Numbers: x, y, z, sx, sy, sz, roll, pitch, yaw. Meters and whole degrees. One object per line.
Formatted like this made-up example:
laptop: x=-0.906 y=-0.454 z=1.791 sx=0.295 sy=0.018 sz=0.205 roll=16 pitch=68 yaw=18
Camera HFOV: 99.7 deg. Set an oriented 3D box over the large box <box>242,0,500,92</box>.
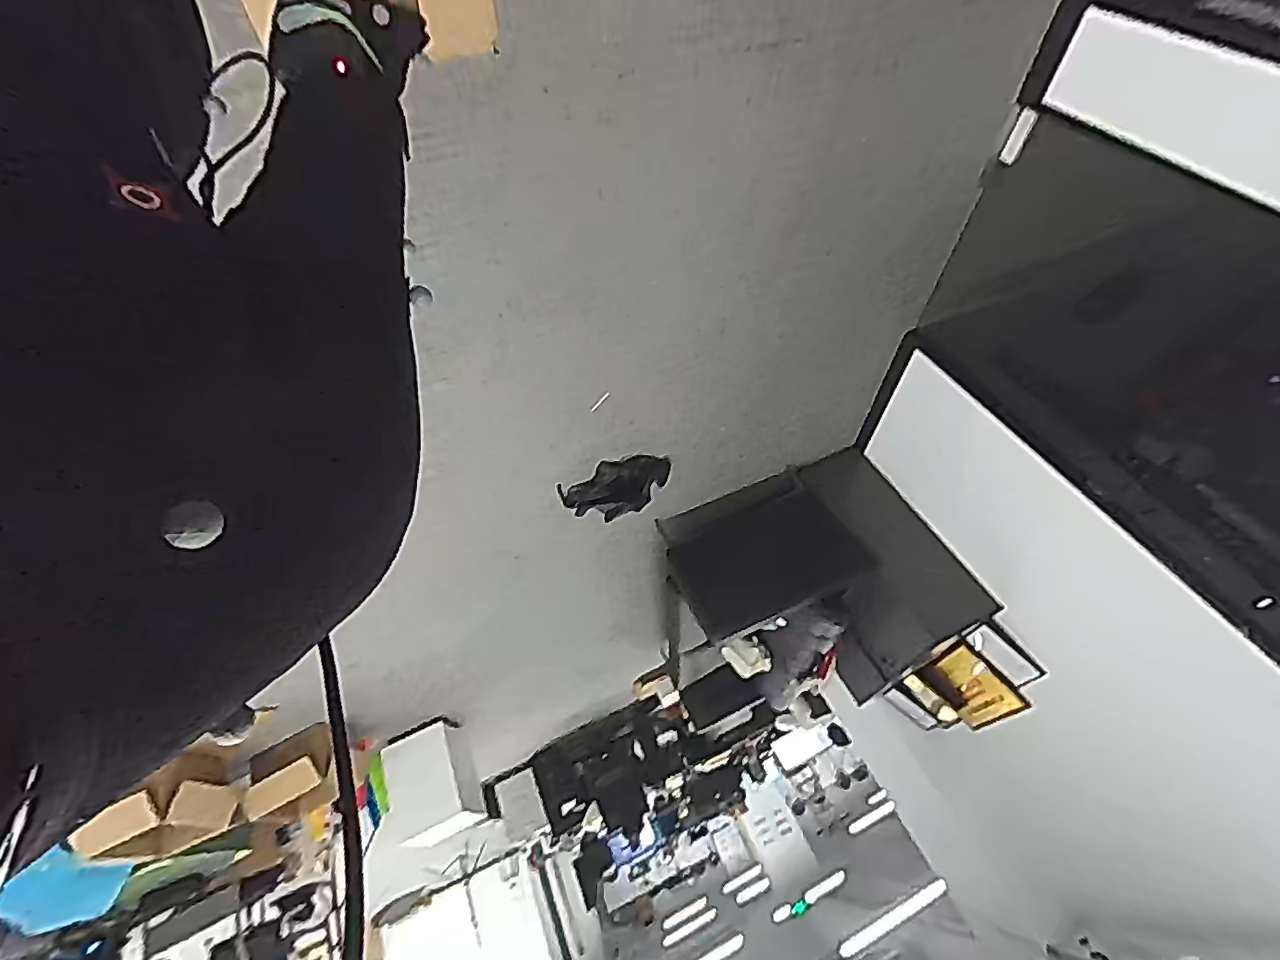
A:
large box: x=-0.417 y=-0.813 z=0.691 sx=0.320 sy=0.320 sz=0.408 roll=-21 pitch=149 yaw=-12
